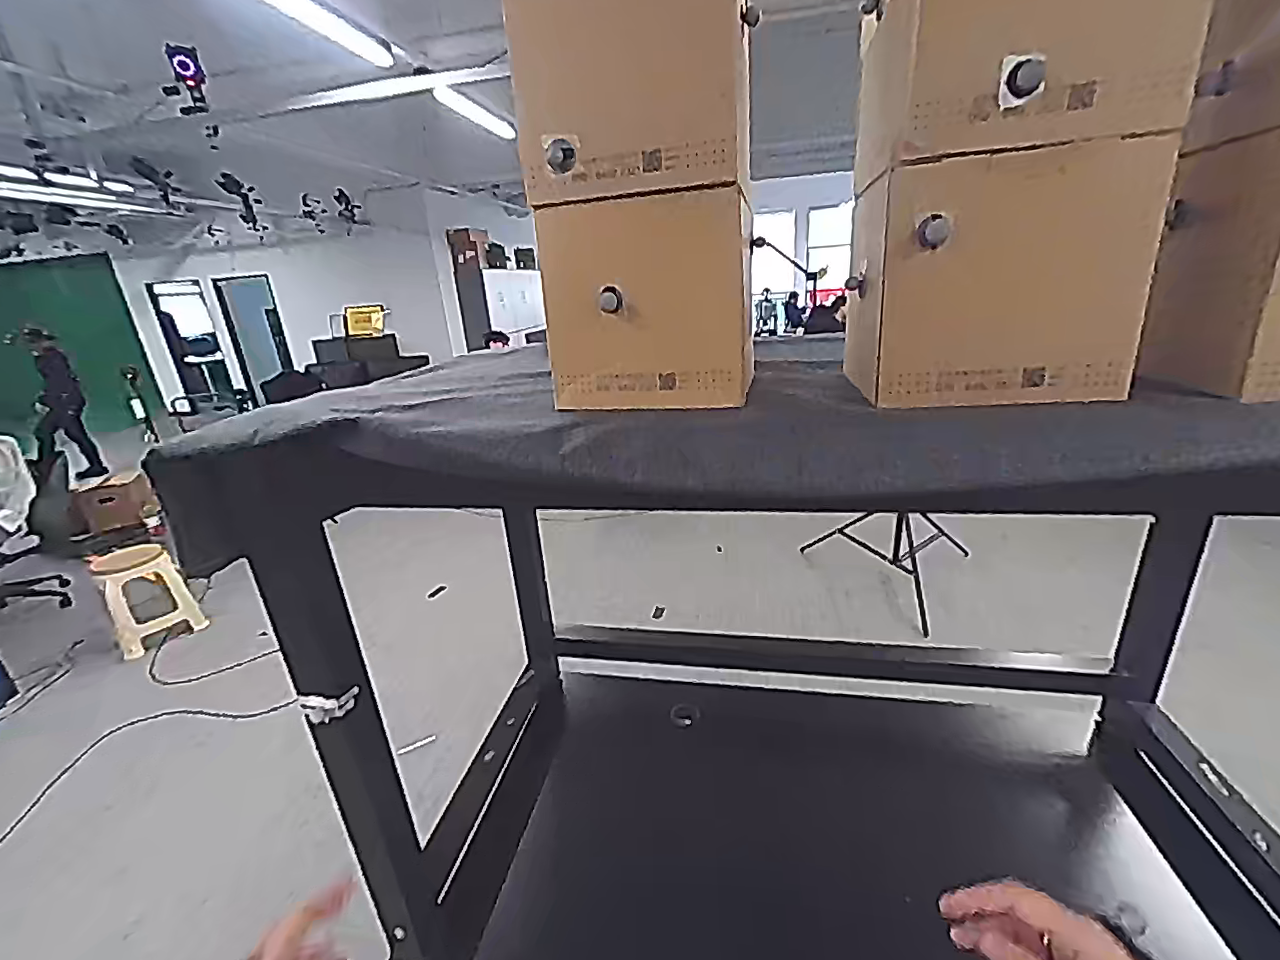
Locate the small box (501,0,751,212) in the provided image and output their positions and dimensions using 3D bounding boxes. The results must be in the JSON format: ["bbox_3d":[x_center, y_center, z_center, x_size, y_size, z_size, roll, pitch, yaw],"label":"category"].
[{"bbox_3d":[0.005,-0.314,0.456,0.168,0.176,0.179,1,18,14],"label":"small box"}]

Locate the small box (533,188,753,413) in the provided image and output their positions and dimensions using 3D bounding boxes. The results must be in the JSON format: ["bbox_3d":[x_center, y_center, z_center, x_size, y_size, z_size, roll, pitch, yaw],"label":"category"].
[{"bbox_3d":[0.018,-0.160,0.512,0.168,0.176,0.179,1,19,14],"label":"small box"}]

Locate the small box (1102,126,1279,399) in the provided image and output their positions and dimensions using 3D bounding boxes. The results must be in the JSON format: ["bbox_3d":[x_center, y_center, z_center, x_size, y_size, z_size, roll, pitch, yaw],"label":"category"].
[{"bbox_3d":[0.485,-0.155,0.393,0.168,0.176,0.179,-1,19,13],"label":"small box"}]

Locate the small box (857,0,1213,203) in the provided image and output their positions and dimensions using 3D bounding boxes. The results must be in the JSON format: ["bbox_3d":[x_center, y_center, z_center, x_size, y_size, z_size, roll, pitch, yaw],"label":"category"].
[{"bbox_3d":[0.263,-0.312,0.398,0.168,0.176,0.179,-1,19,11],"label":"small box"}]
